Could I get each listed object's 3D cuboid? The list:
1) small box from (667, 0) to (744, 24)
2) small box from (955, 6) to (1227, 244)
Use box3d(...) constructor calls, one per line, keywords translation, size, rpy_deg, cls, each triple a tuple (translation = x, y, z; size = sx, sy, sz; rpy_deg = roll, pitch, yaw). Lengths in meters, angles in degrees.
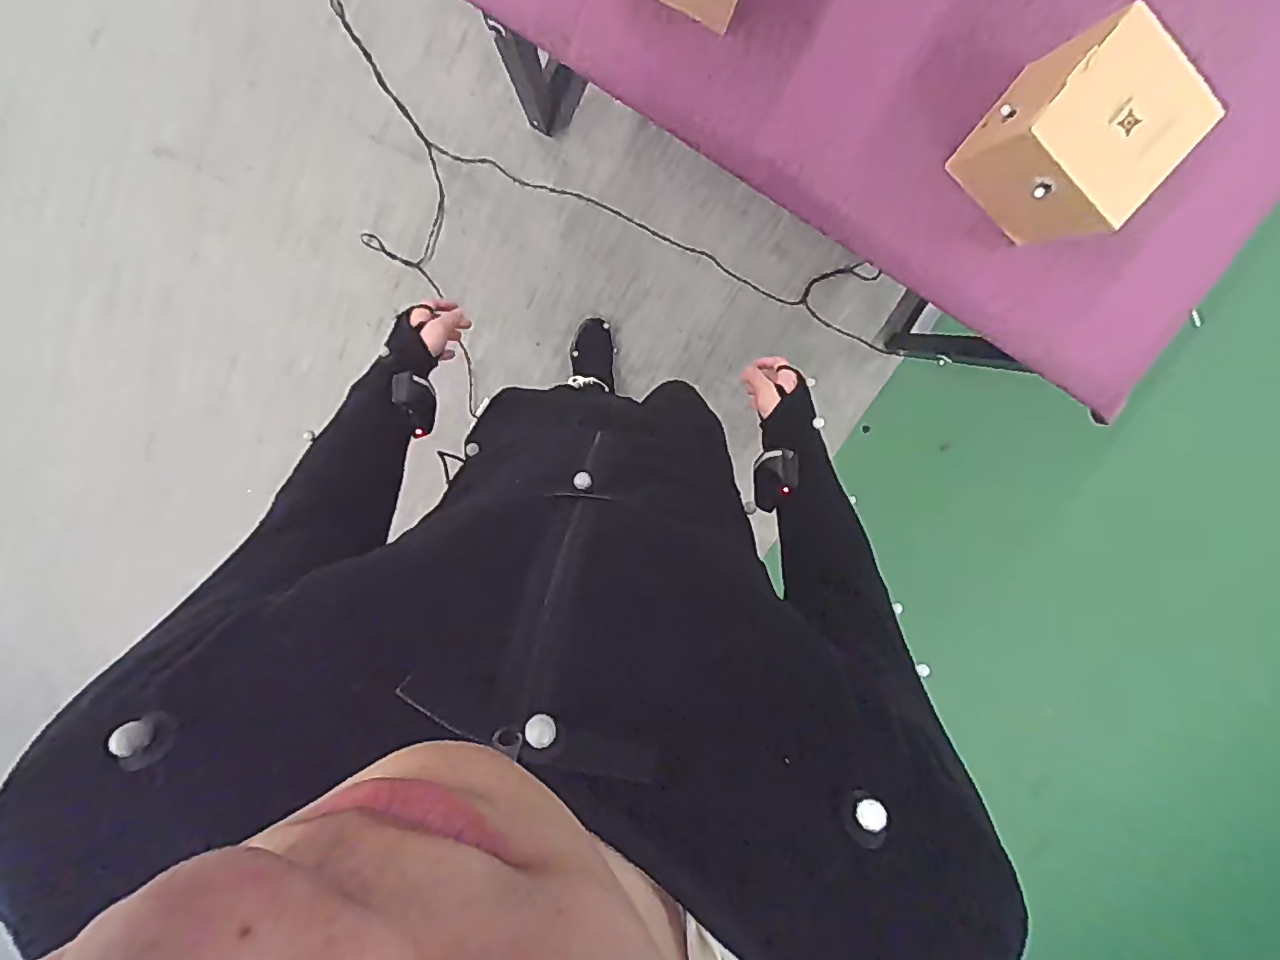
box3d(translation=(0.077, -0.664, 0.602), size=(0.179, 0.176, 0.168), rpy_deg=(22, 104, -10), cls="small box")
box3d(translation=(0.561, -0.432, 0.700), size=(0.179, 0.176, 0.168), rpy_deg=(38, 101, -13), cls="small box")
